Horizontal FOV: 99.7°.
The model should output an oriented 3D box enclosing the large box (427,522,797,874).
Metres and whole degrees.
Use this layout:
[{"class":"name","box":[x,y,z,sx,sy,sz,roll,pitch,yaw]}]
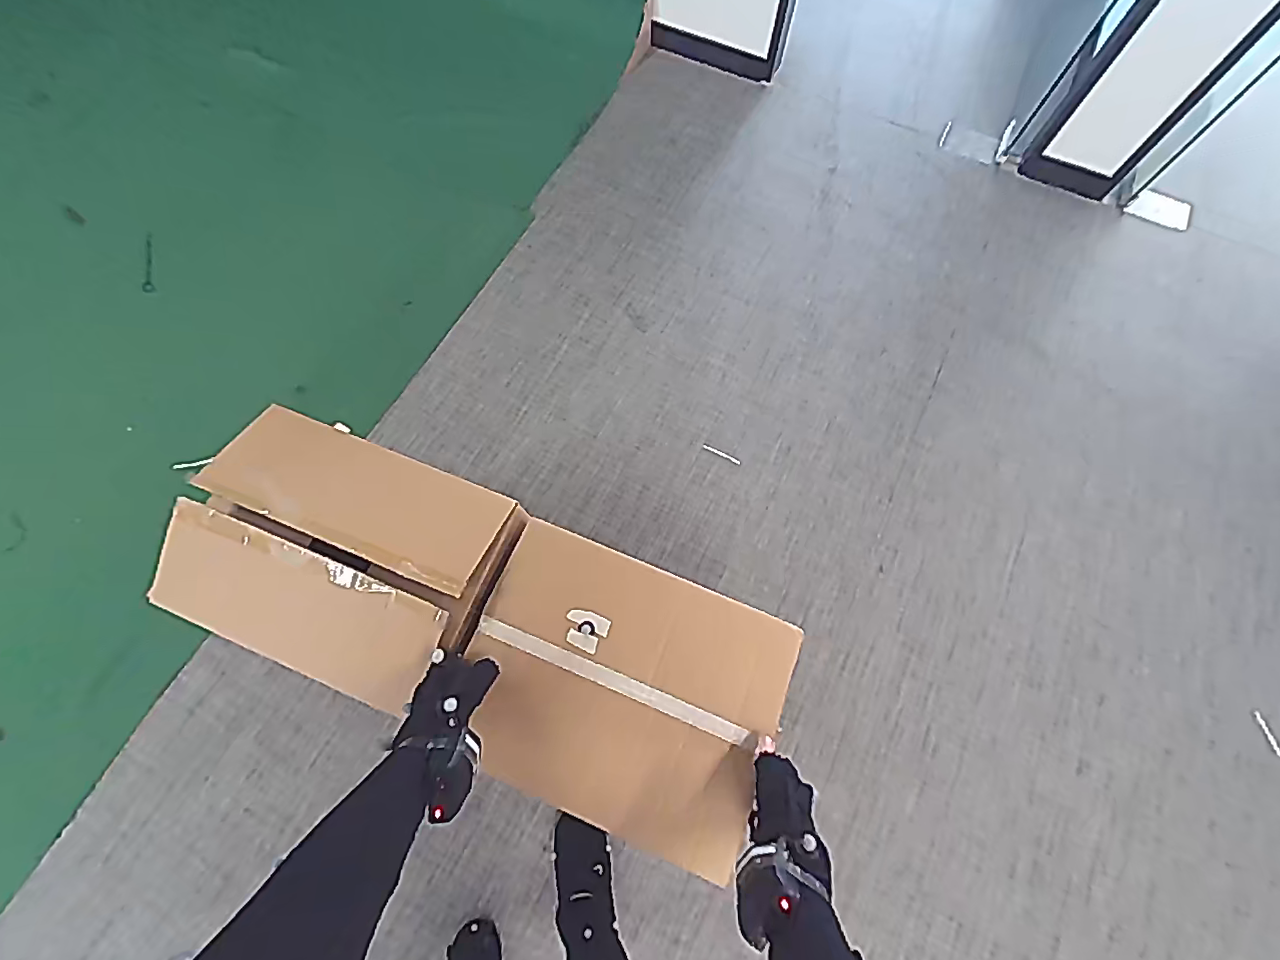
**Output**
[{"class":"large box","box":[-0.025,0.305,0.834,0.408,0.320,0.320,21,72,8]}]
